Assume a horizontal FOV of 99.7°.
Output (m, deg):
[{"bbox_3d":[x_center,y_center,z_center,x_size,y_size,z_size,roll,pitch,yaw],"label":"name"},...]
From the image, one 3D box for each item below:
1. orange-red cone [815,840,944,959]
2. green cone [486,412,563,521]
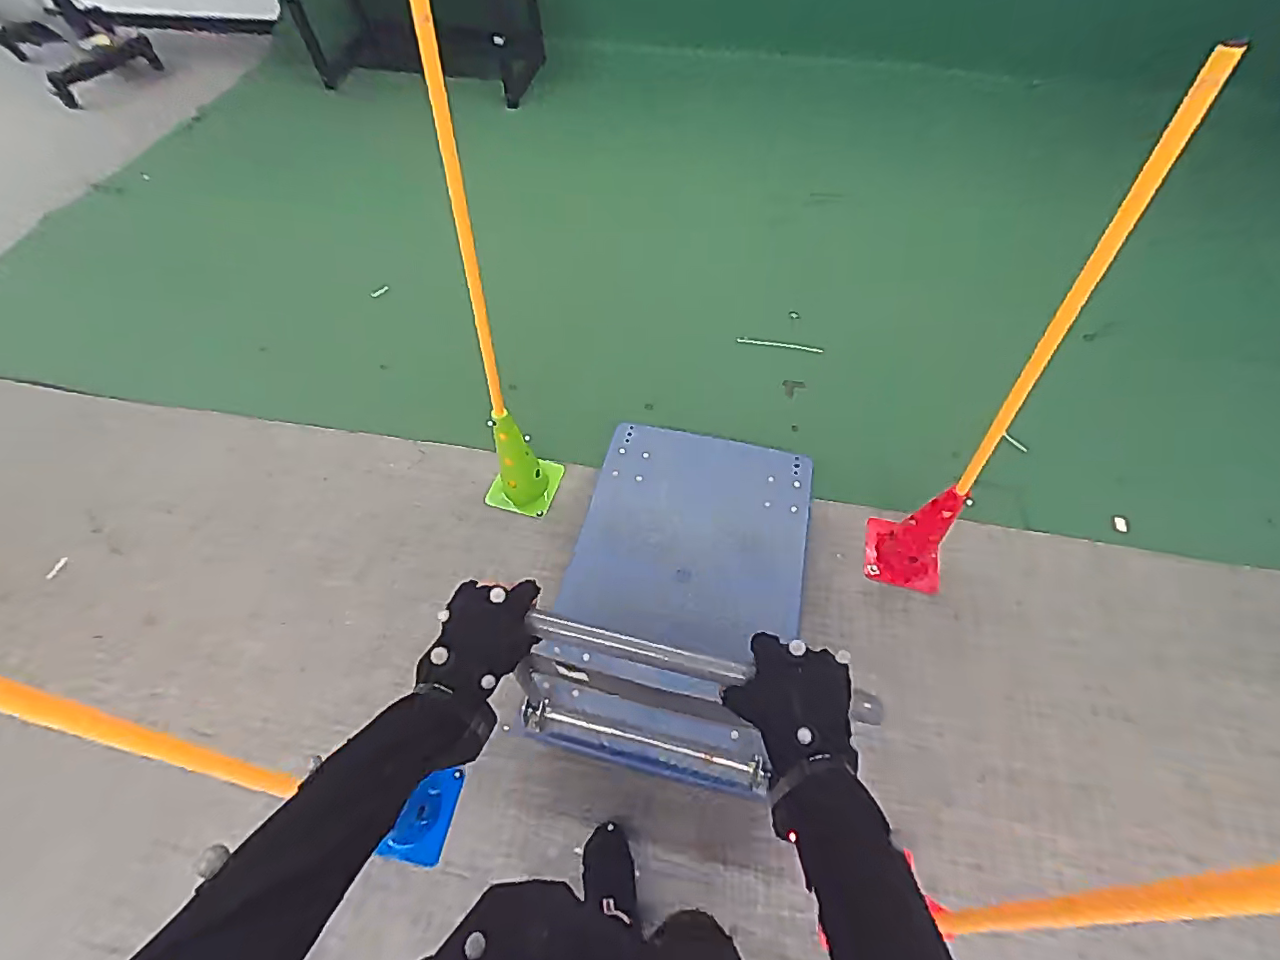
[{"bbox_3d":[0.463,0.792,0.993,0.199,0.360,0.198,7,57,8],"label":"orange-red cone"},{"bbox_3d":[-0.365,-0.066,1.558,0.202,0.368,0.200,12,57,10],"label":"green cone"}]
